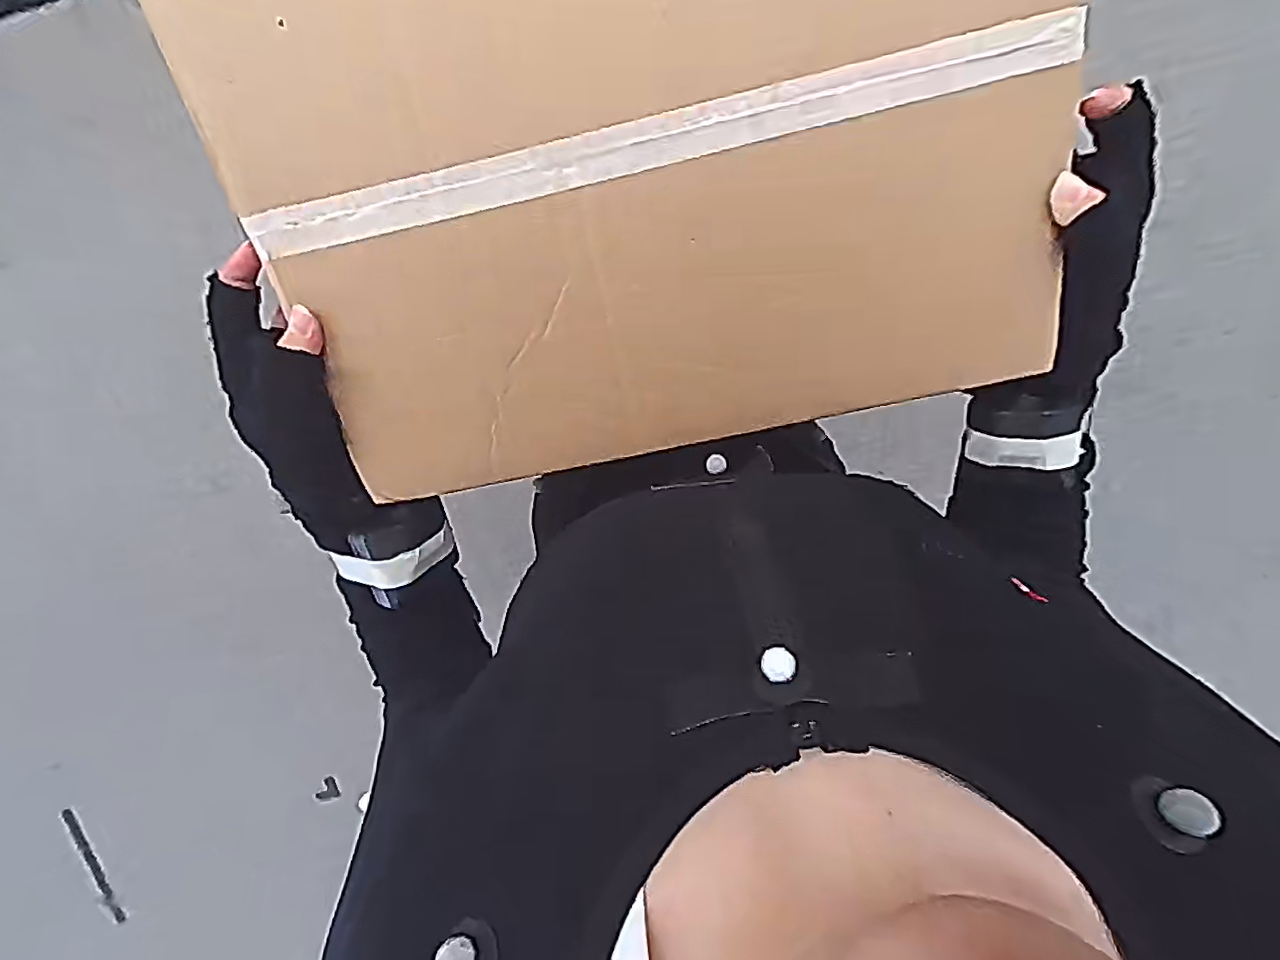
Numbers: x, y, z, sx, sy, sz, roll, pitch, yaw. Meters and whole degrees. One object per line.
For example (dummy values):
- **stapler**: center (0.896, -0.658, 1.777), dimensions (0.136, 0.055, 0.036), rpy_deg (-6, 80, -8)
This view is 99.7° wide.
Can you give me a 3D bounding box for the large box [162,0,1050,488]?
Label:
- **large box**: center (-0.004, -0.230, 0.405), dimensions (0.408, 0.320, 0.320), rpy_deg (-11, 113, 4)
